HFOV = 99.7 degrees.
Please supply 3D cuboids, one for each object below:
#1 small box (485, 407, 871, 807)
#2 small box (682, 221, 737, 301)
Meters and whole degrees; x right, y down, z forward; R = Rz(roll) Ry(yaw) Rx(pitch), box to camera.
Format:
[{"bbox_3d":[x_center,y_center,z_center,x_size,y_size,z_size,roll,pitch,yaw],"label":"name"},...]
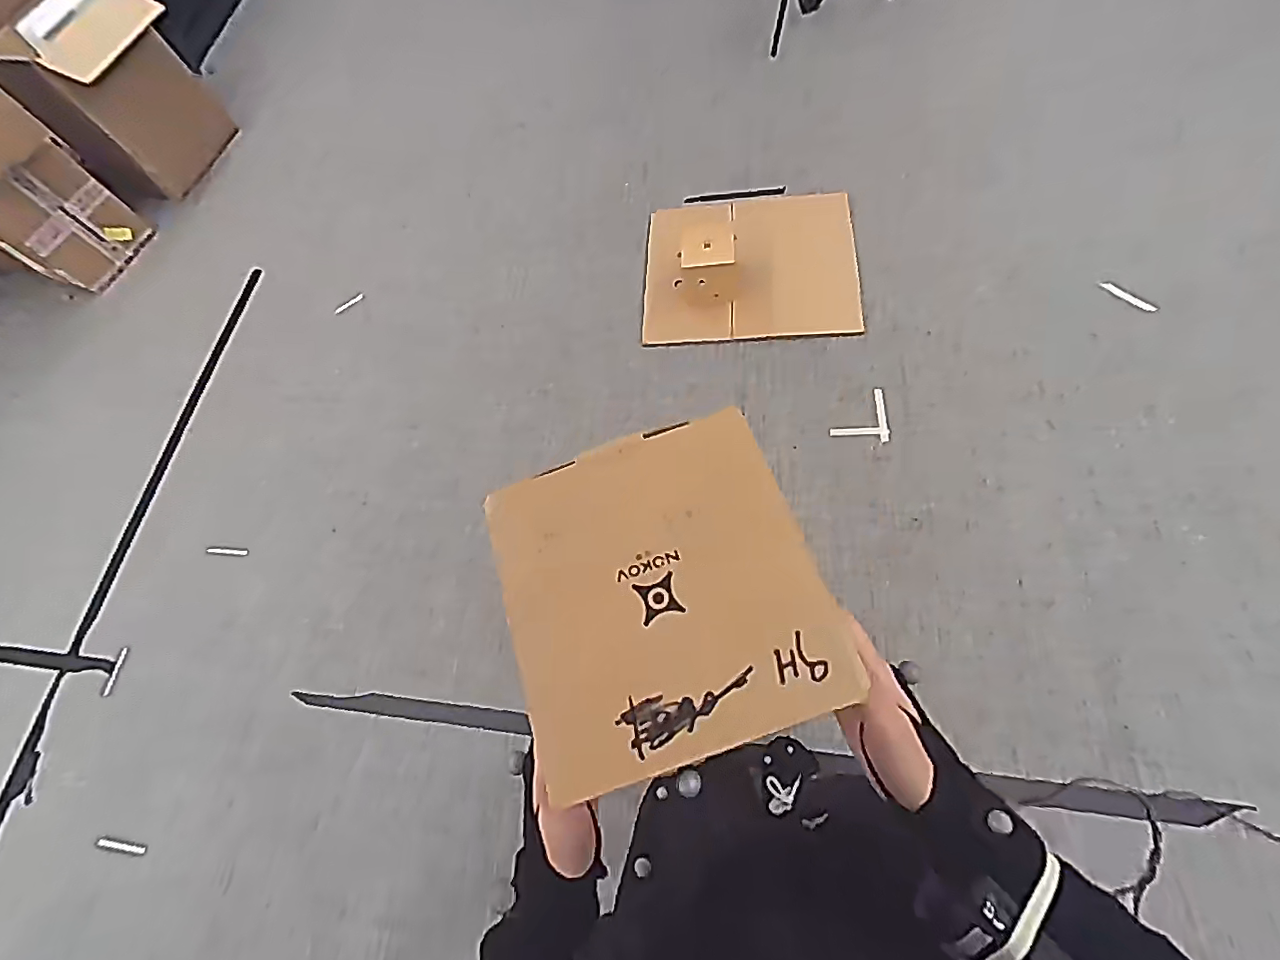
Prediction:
[{"bbox_3d":[0.020,0.087,0.360,0.168,0.176,0.179,-21,65,2],"label":"small box"},{"bbox_3d":[0.227,-0.700,1.753,0.168,0.176,0.179,-2,66,10],"label":"small box"}]
